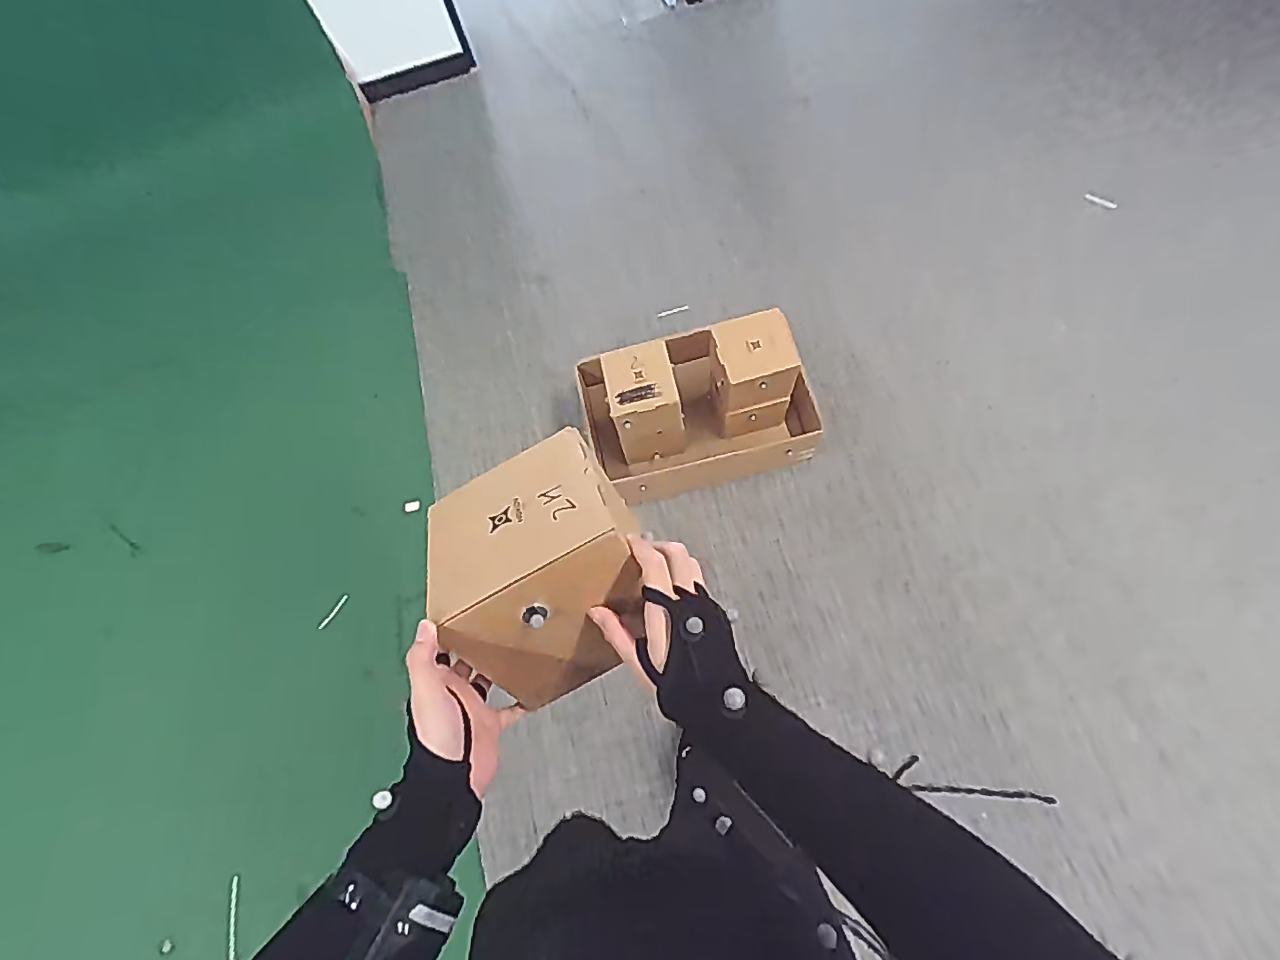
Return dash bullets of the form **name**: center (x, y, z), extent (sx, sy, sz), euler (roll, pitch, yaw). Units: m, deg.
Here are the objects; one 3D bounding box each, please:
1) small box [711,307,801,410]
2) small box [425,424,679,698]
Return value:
- **small box**: center (0.283, -0.297, 1.358), extent (0.179, 0.176, 0.168), euler (-15, 72, 1)
- **small box**: center (-0.087, 0.083, 0.540), extent (0.179, 0.176, 0.168), euler (-29, 40, 1)
